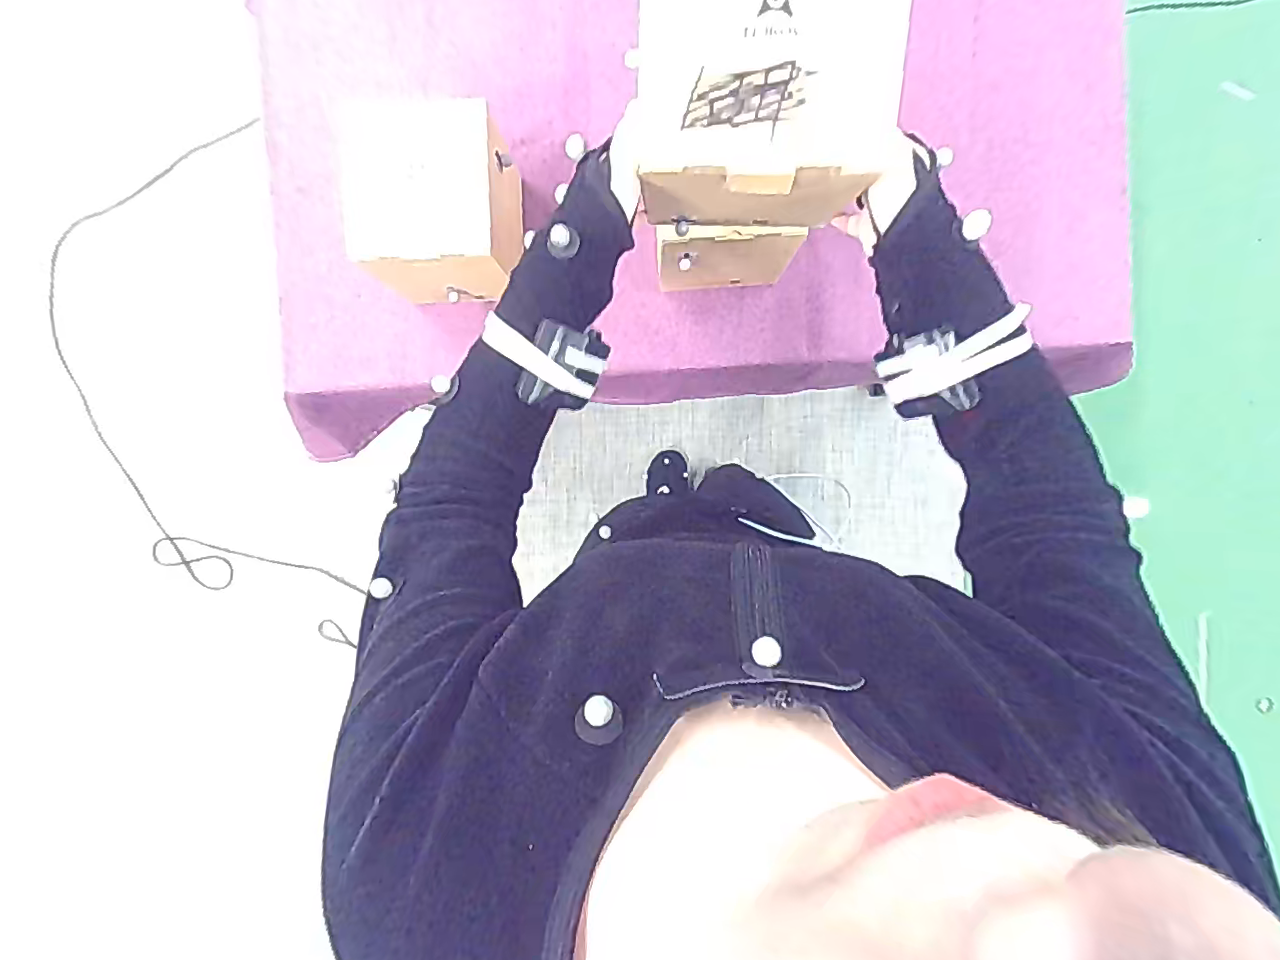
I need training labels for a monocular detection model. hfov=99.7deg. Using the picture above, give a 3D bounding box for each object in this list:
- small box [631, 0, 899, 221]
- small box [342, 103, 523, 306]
[{"bbox_3d":[0.083,-0.308,0.413,0.168,0.176,0.179,1,101,3],"label":"small box"},{"bbox_3d":[-0.250,-0.335,0.687,0.168,0.176,0.179,-2,91,2],"label":"small box"}]
